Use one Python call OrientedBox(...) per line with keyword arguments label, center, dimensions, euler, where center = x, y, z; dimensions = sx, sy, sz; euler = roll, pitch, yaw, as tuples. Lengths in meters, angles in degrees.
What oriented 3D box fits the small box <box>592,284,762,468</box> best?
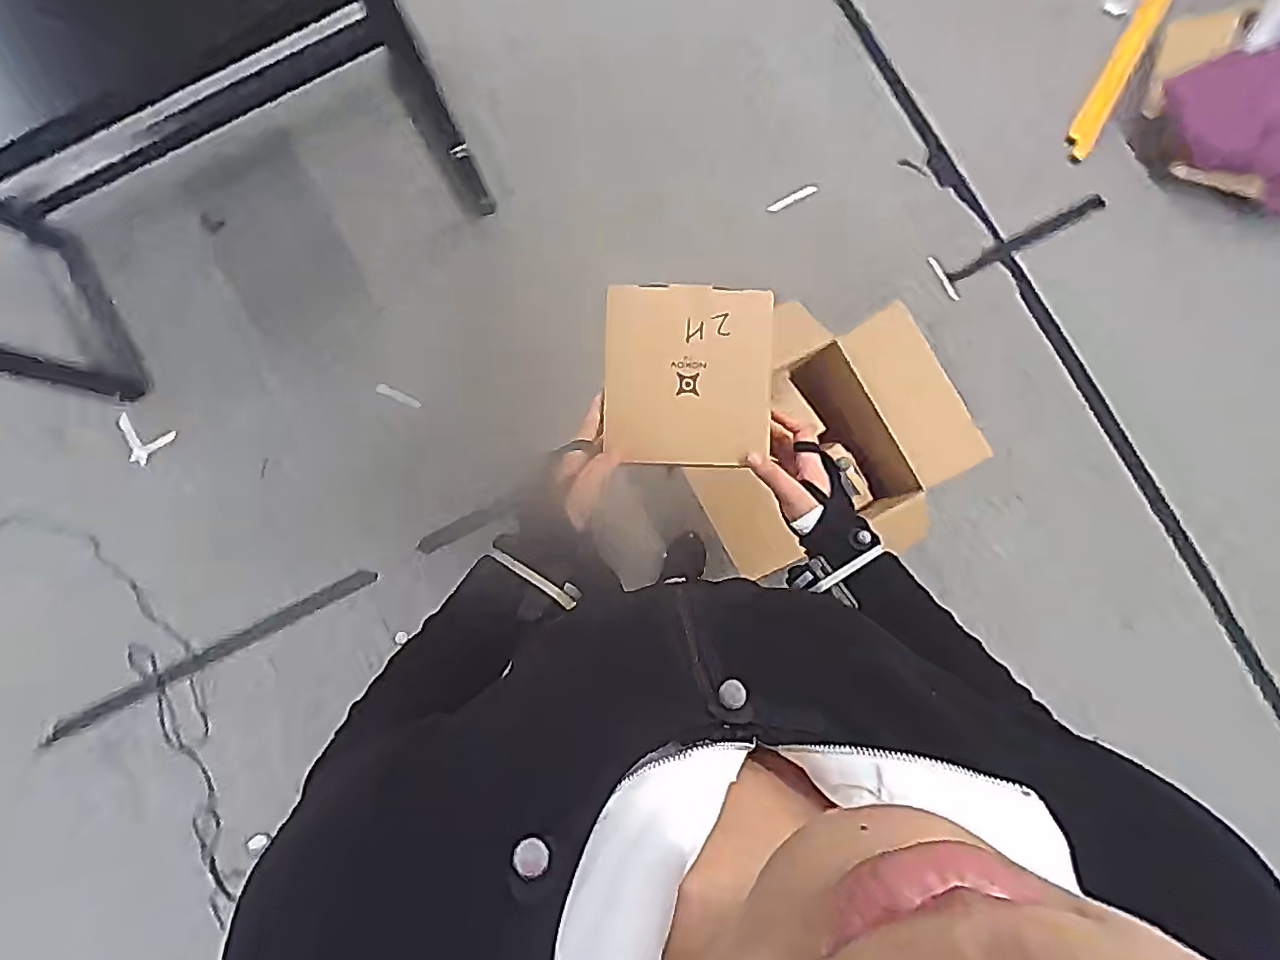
OrientedBox(label="small box", center=(0.033, -0.102, 0.604), dimensions=(0.168, 0.176, 0.179), euler=(0, 91, -3))
